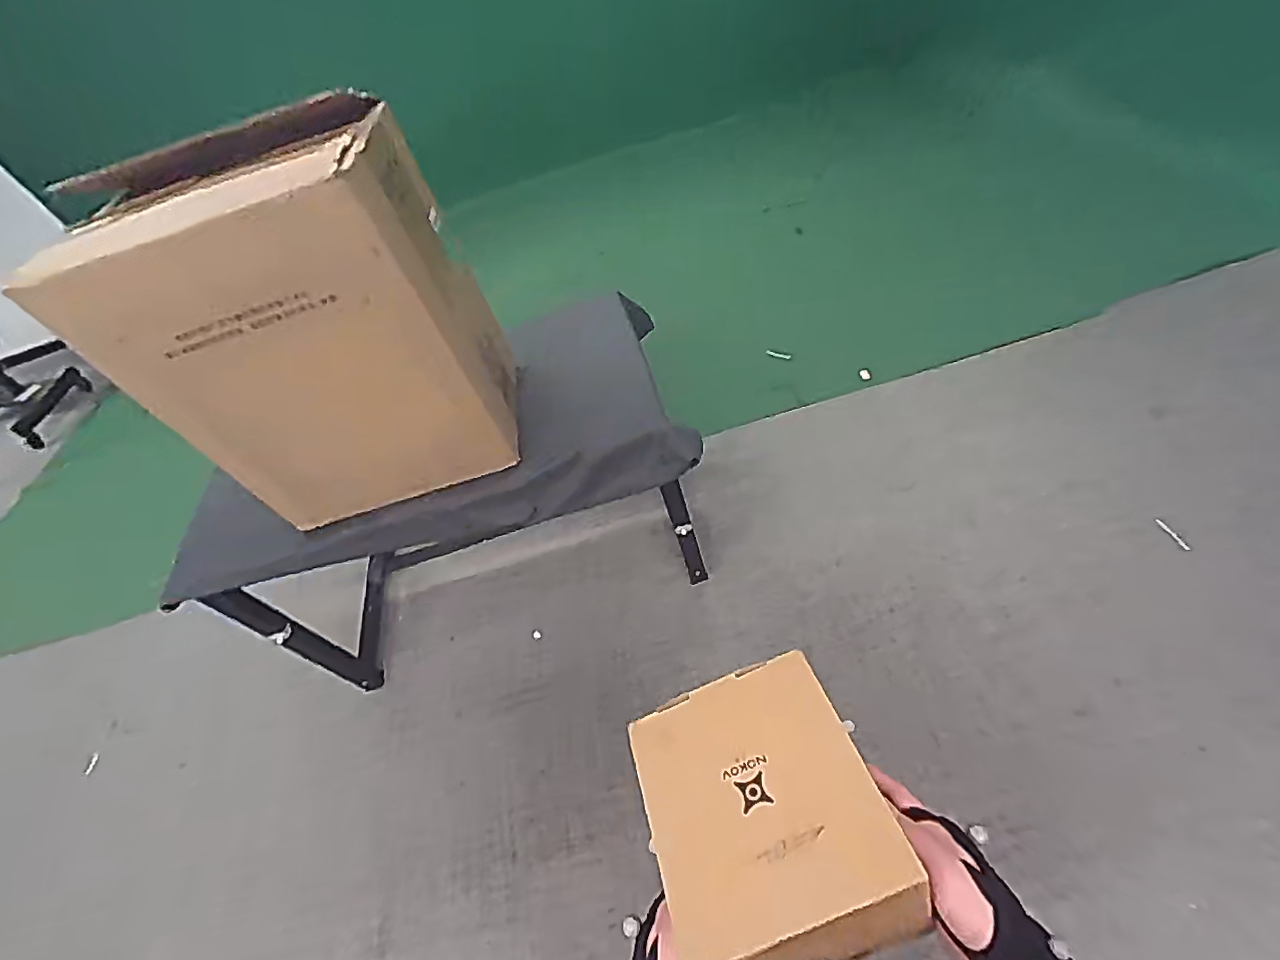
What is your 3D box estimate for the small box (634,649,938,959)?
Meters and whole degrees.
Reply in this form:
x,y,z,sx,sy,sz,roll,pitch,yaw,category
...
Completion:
x,y,z,sx,sy,sz,roll,pitch,yaw,category
0.115,0.282,0.446,0.168,0.176,0.179,-26,38,1,small box
